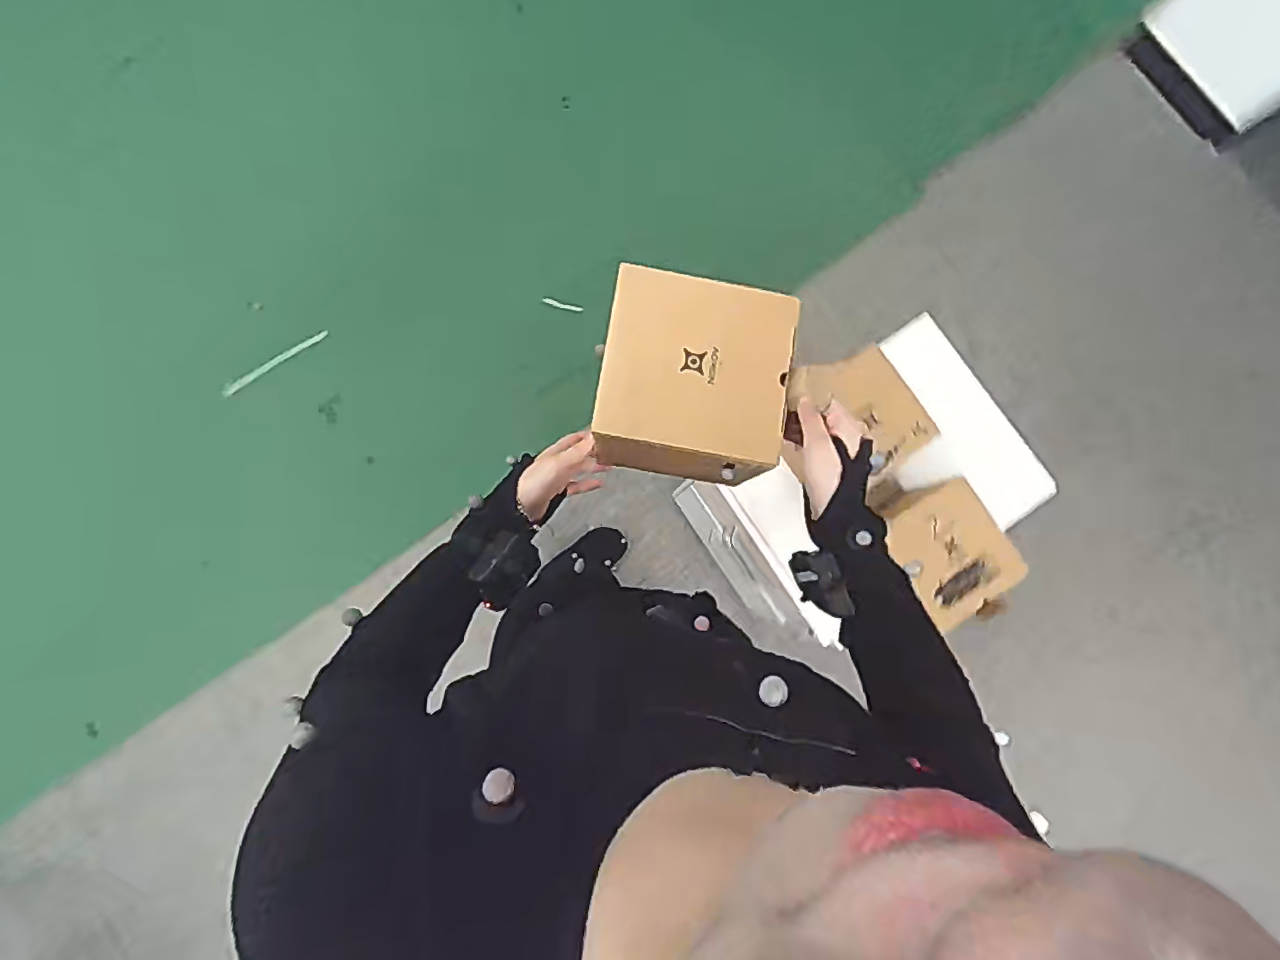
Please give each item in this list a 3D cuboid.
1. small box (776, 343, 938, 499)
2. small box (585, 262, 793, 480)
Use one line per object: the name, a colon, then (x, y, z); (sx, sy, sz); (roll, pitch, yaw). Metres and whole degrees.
small box: (0.330, -0.085, 0.886); (0.168, 0.176, 0.179); (-33, 86, -8)
small box: (0.042, -0.100, 0.574); (0.179, 0.176, 0.168); (9, 81, -4)
